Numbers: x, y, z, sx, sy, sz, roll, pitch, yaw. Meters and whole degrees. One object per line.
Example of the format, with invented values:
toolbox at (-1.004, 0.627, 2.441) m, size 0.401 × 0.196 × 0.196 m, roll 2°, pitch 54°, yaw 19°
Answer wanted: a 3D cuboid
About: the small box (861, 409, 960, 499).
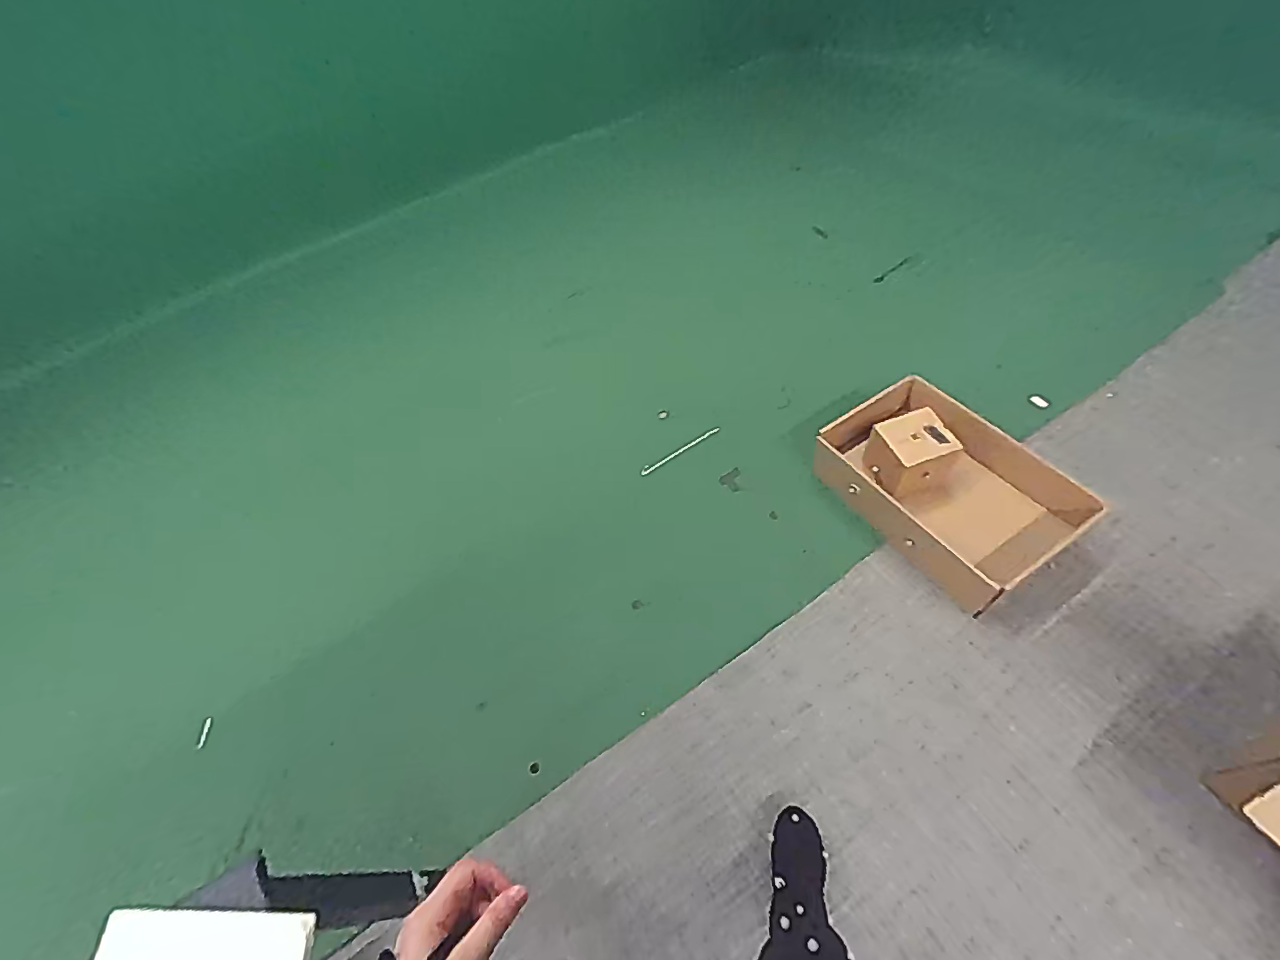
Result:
small box at (0.771, -0.073, 1.564) m, size 0.179 × 0.176 × 0.168 m, roll -18°, pitch 54°, yaw -4°
